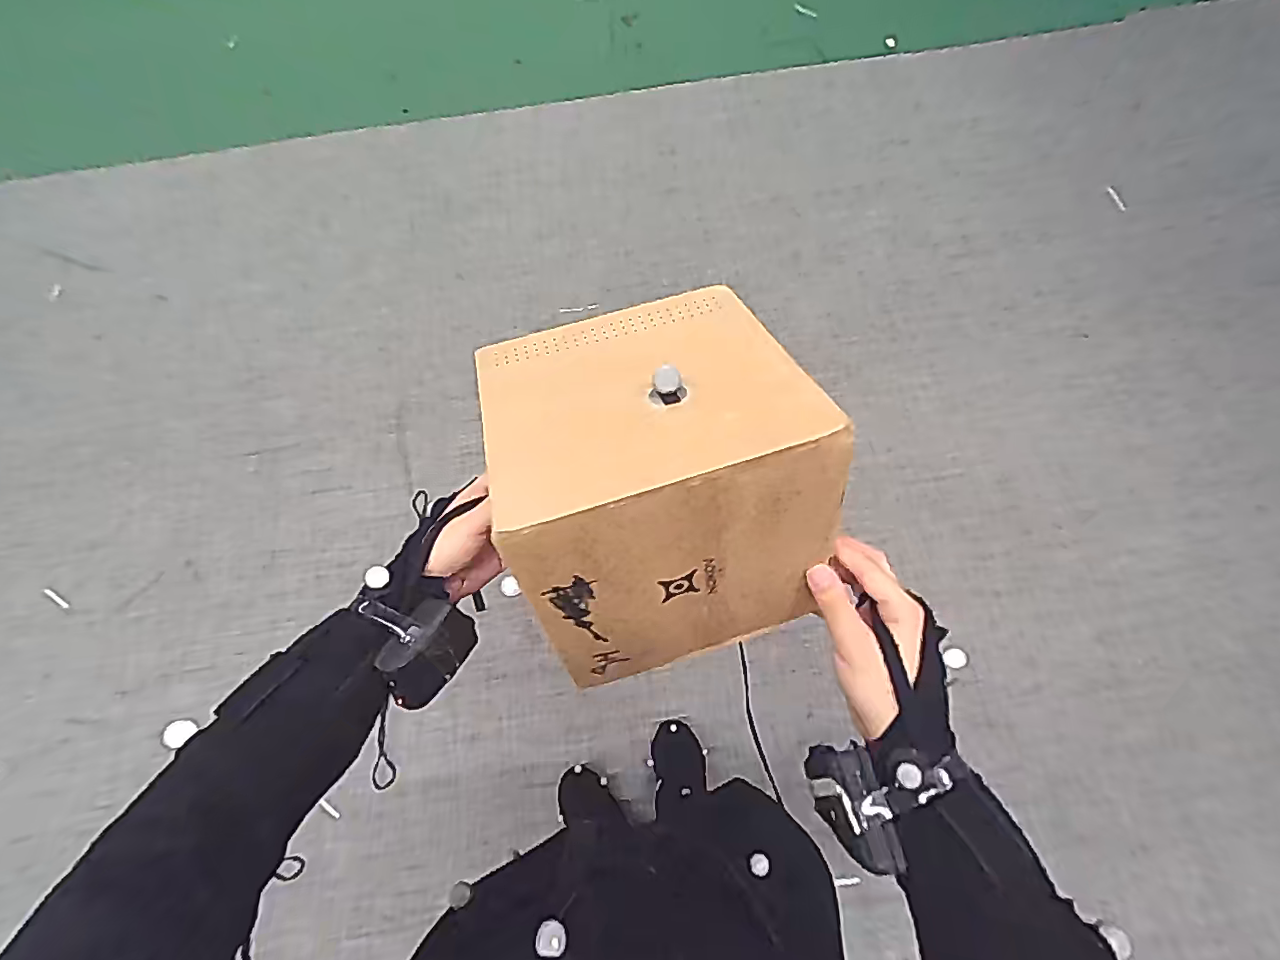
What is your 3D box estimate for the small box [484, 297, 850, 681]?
[{"bbox_3d":[0.010,-0.001,0.369,0.179,0.168,0.176,-18,45,-7],"label":"small box"}]
